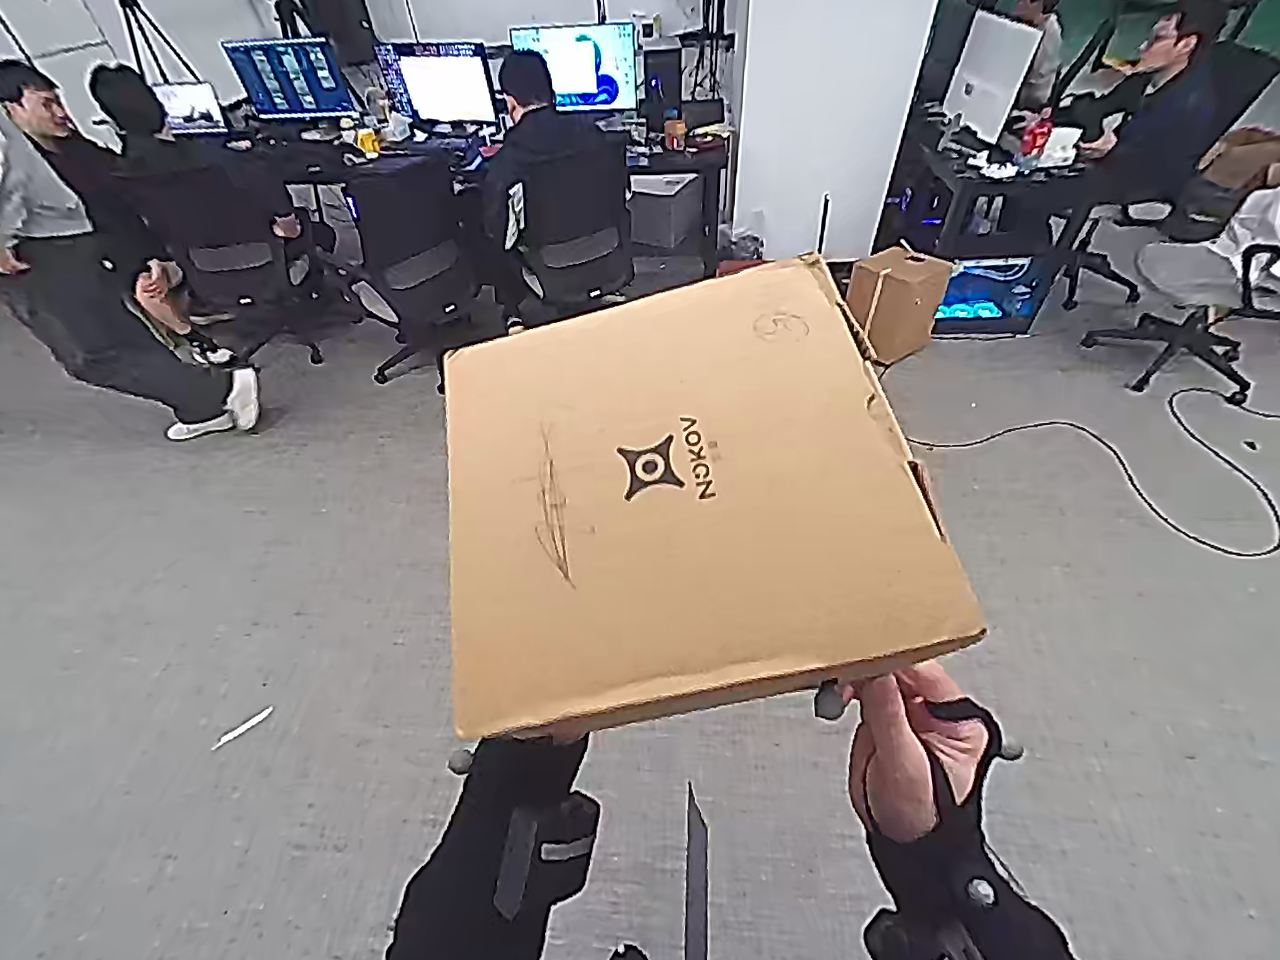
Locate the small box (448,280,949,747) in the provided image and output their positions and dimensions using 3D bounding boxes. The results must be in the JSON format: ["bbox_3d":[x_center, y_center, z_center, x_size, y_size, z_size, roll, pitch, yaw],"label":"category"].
[{"bbox_3d":[0.021,0.034,0.290,0.179,0.176,0.168,-15,64,7],"label":"small box"}]
